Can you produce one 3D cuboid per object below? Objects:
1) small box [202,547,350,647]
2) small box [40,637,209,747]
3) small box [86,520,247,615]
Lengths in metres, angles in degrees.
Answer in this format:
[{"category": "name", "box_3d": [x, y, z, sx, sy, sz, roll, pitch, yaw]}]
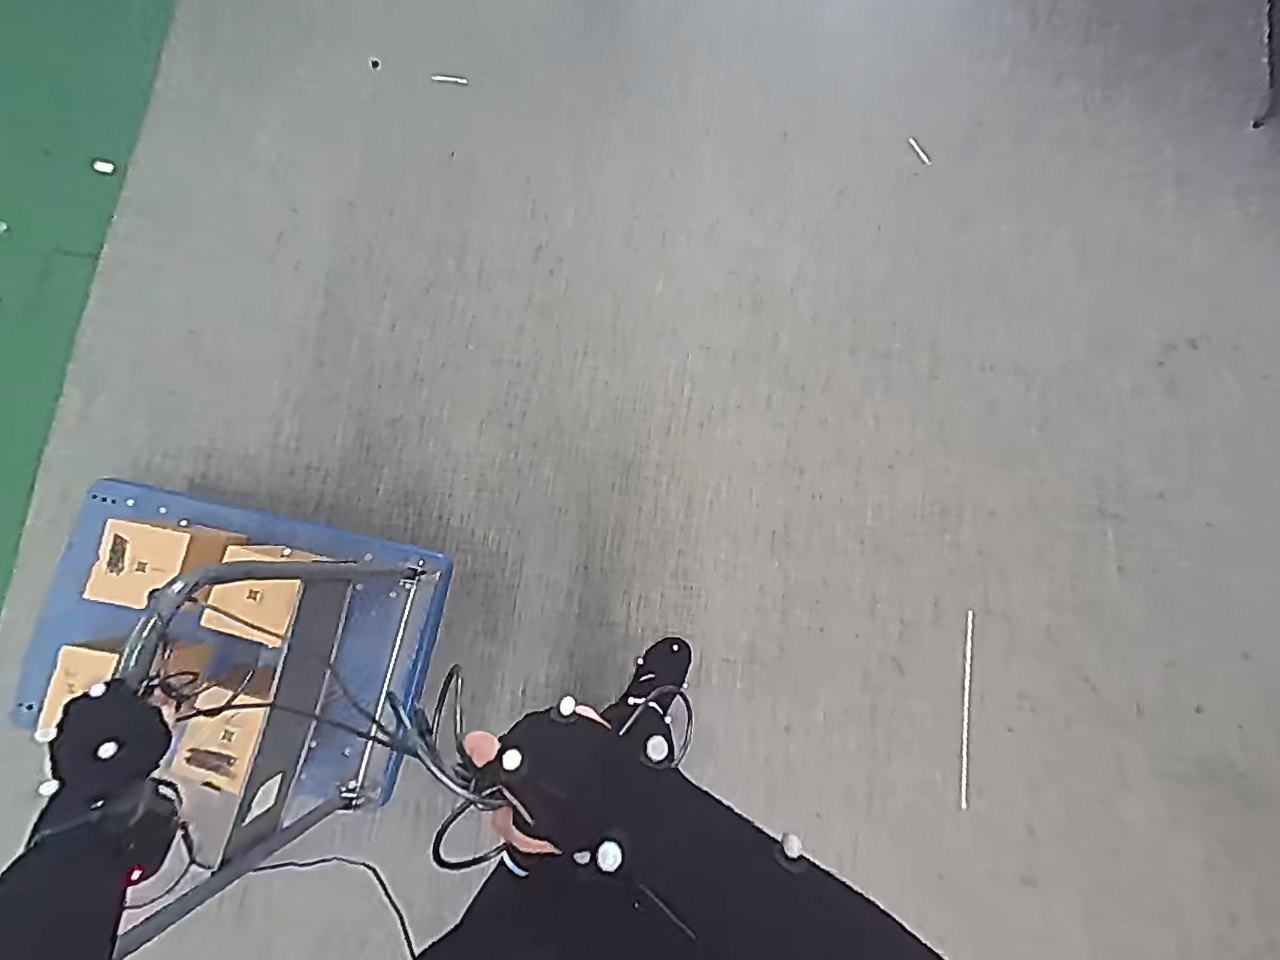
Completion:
[{"category": "small box", "box_3d": [-0.772, 0.247, 1.165, 0.179, 0.176, 0.168, 14, 82, 1]}, {"category": "small box", "box_3d": [-1.066, 0.435, 1.136, 0.179, 0.176, 0.168, 9, 82, 1]}, {"category": "small box", "box_3d": [-1.010, 0.187, 1.170, 0.179, 0.176, 0.168, 11, 83, 1]}]
